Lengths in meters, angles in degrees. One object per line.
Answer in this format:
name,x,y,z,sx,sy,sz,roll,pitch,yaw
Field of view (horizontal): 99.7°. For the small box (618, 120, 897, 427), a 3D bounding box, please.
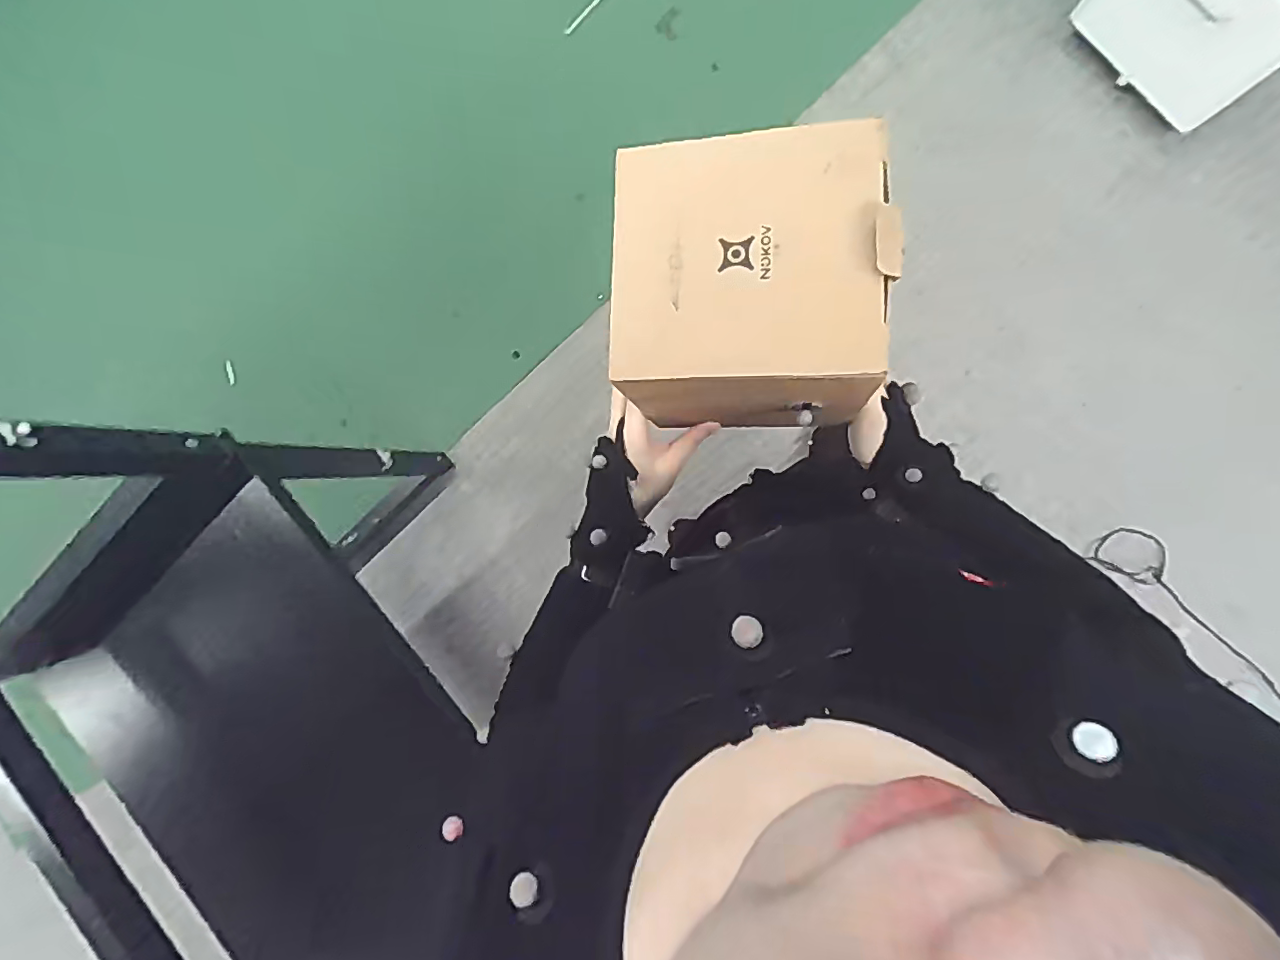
small box,0.090,-0.139,0.428,0.179,0.176,0.168,1,85,14
